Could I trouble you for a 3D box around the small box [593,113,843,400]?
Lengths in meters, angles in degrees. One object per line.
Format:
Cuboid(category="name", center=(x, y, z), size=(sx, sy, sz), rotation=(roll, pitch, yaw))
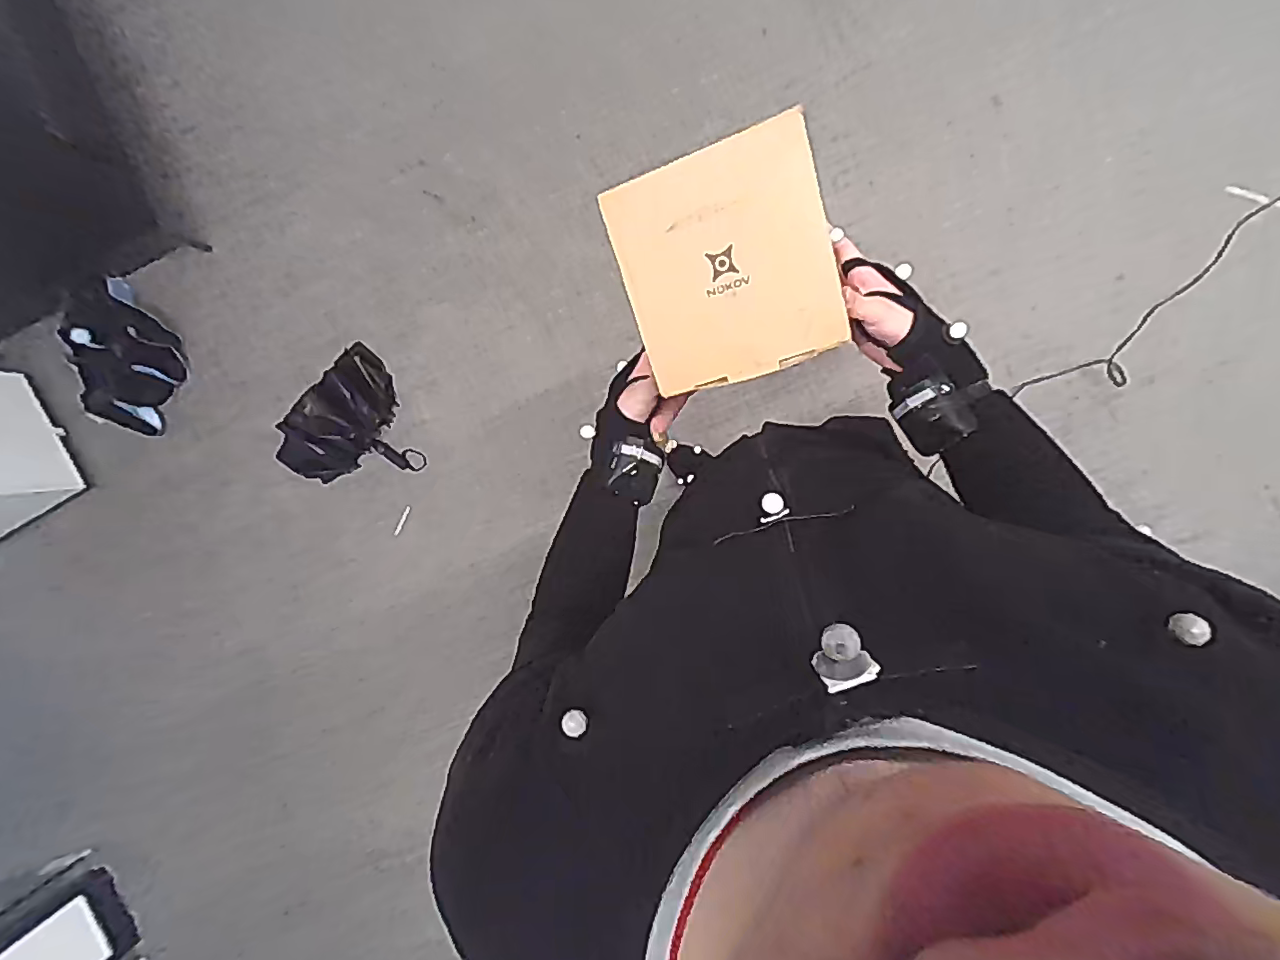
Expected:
Cuboid(category="small box", center=(0.082, -0.194, 0.505), size=(0.168, 0.176, 0.179), rotation=(-15, 105, 19))
